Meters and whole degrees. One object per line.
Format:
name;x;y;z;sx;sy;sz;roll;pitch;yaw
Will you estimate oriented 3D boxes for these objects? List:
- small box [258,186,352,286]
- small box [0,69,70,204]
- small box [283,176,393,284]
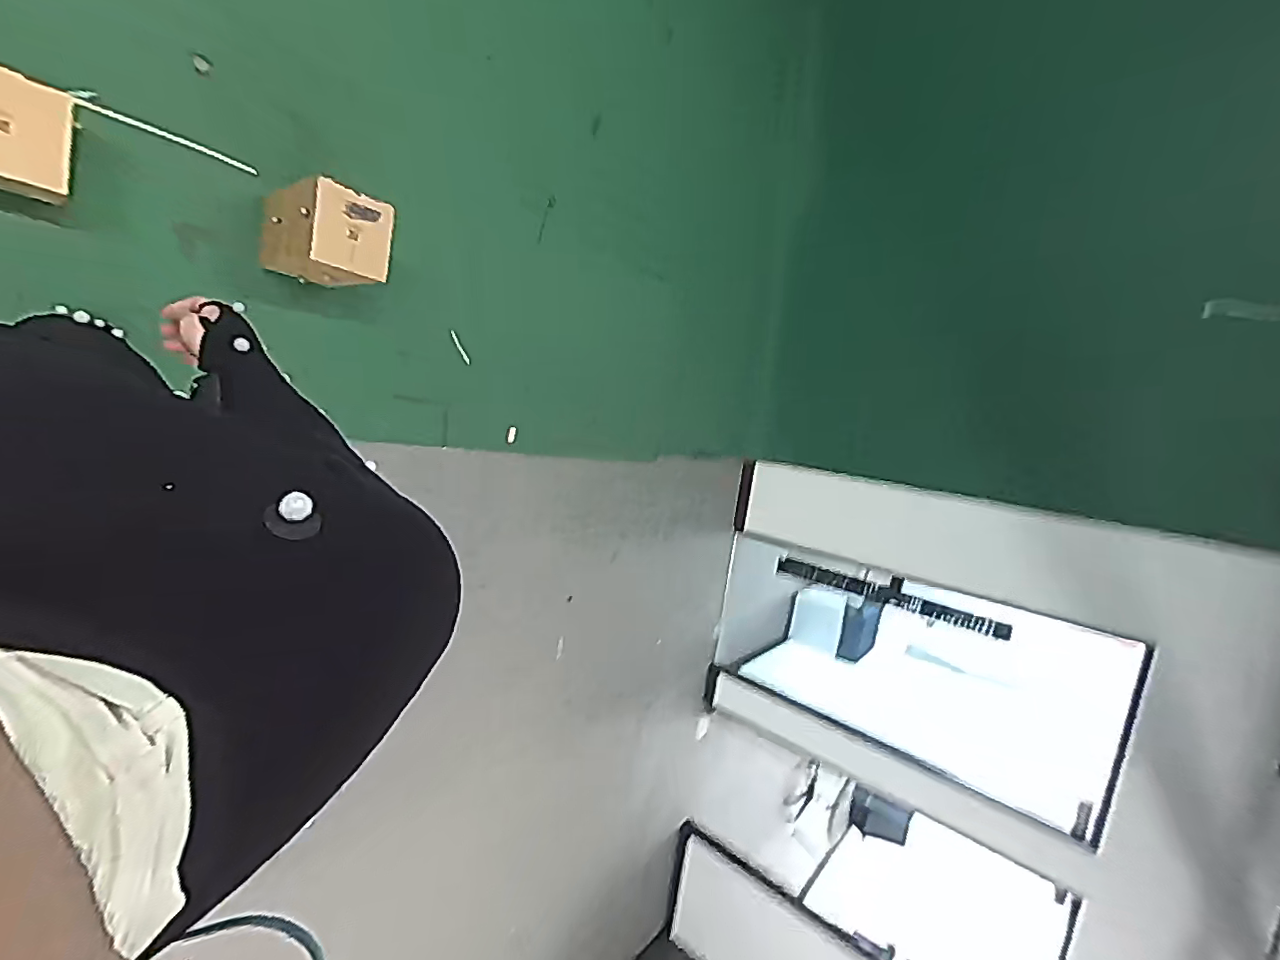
small box;-0.830;-0.600;1.353;0.168;0.176;0.179;4;98;-52
small box;-1.142;-0.617;0.960;0.168;0.176;0.179;2;99;-51
small box;-0.702;-0.569;1.255;0.168;0.176;0.179;3;99;-52
